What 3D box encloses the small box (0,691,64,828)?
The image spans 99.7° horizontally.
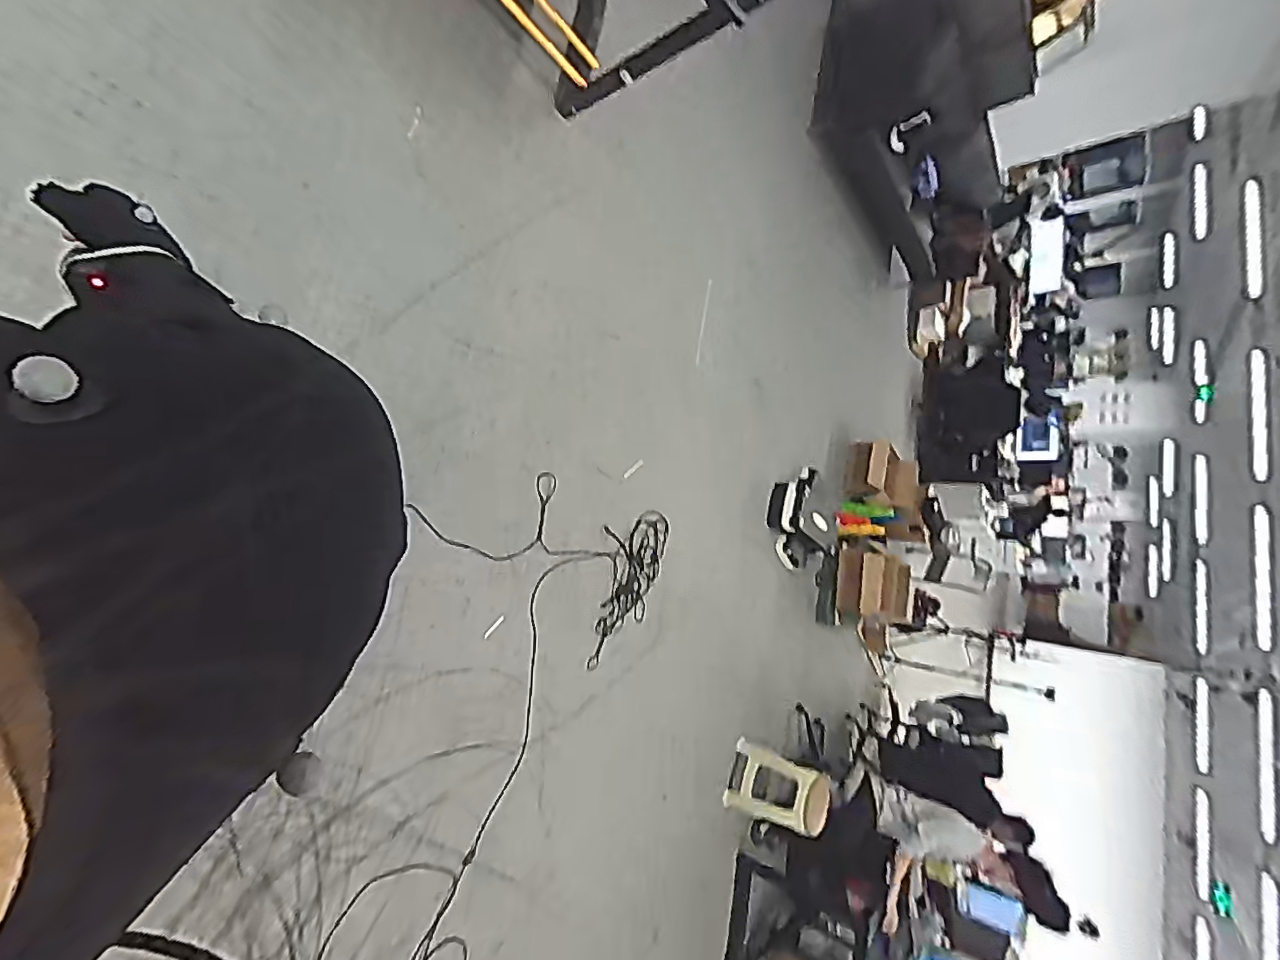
[{"bbox_3d":[-1.127,0.470,0.915,0.168,0.176,0.179,25,72,-48],"label":"small box"}]
